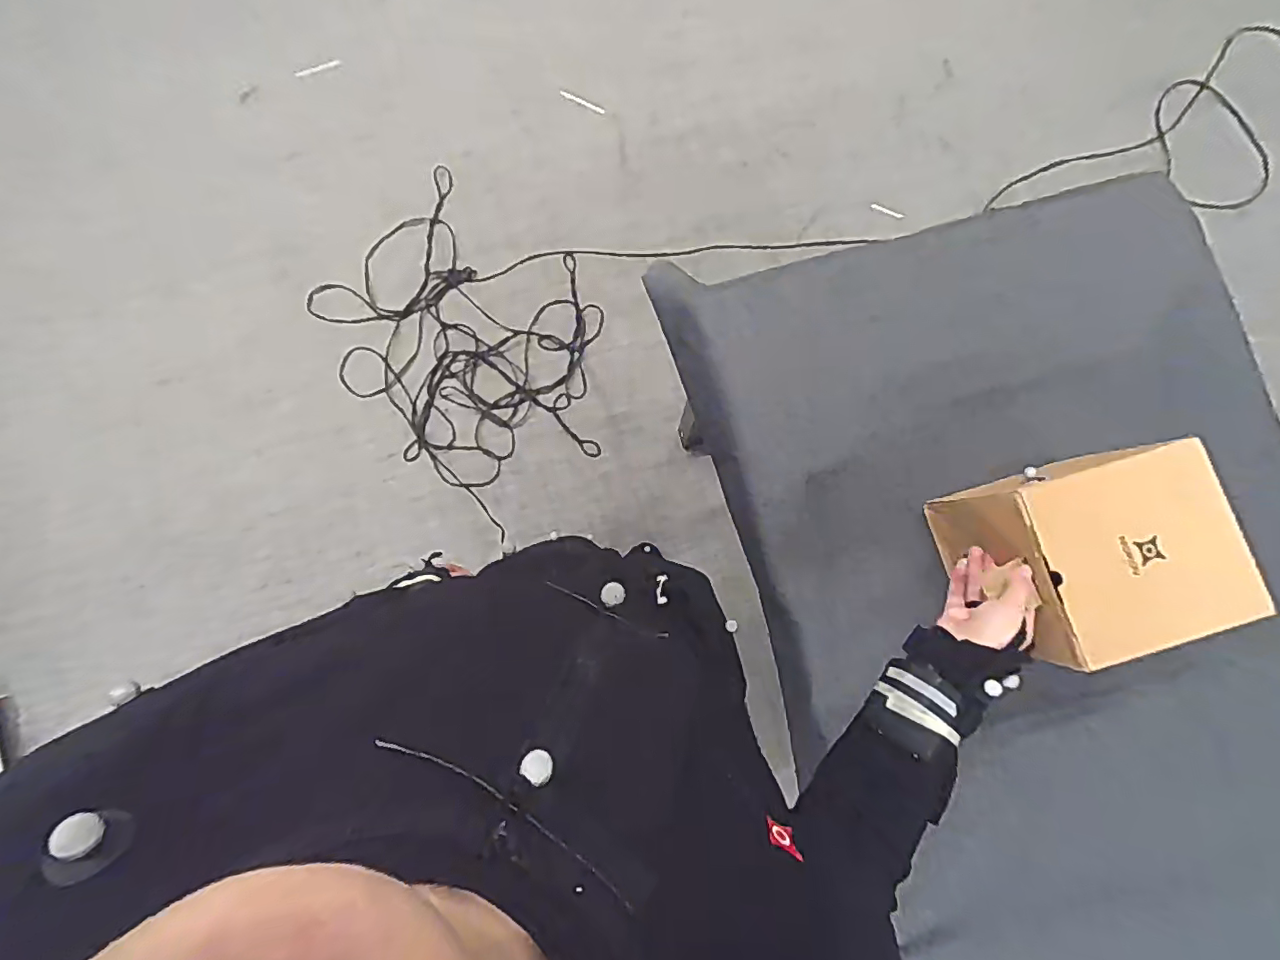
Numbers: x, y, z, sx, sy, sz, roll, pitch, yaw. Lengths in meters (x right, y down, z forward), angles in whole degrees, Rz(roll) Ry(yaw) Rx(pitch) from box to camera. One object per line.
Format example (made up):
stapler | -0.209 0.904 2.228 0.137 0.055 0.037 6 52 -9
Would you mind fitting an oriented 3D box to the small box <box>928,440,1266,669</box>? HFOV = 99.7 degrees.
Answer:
small box | 0.443 0.070 0.557 0.179 0.176 0.168 -18 84 -1
